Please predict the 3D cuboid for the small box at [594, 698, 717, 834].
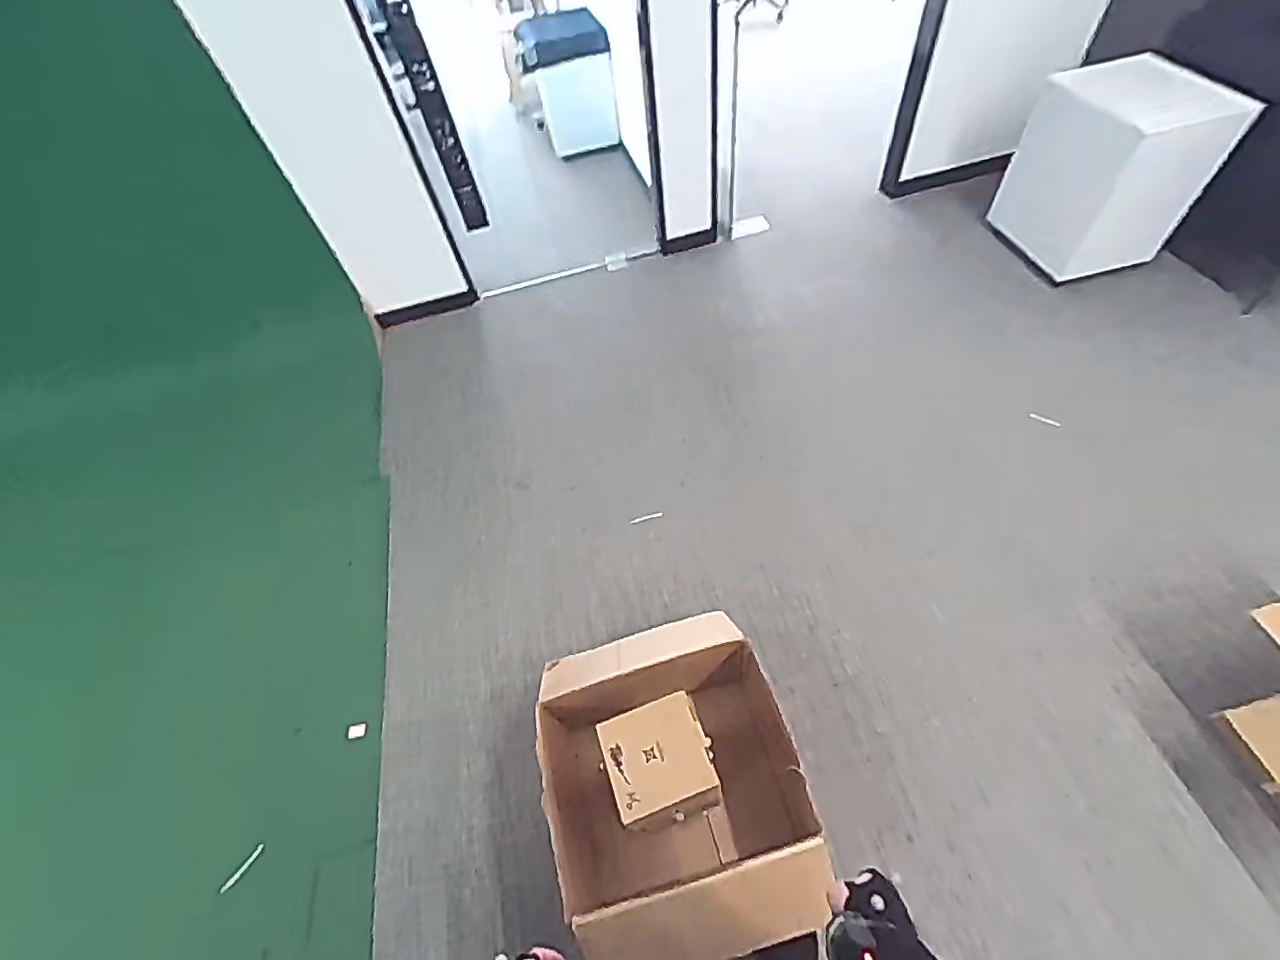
[{"bbox_3d":[0.031,0.540,1.017,0.179,0.176,0.168,-21,55,-7],"label":"small box"}]
